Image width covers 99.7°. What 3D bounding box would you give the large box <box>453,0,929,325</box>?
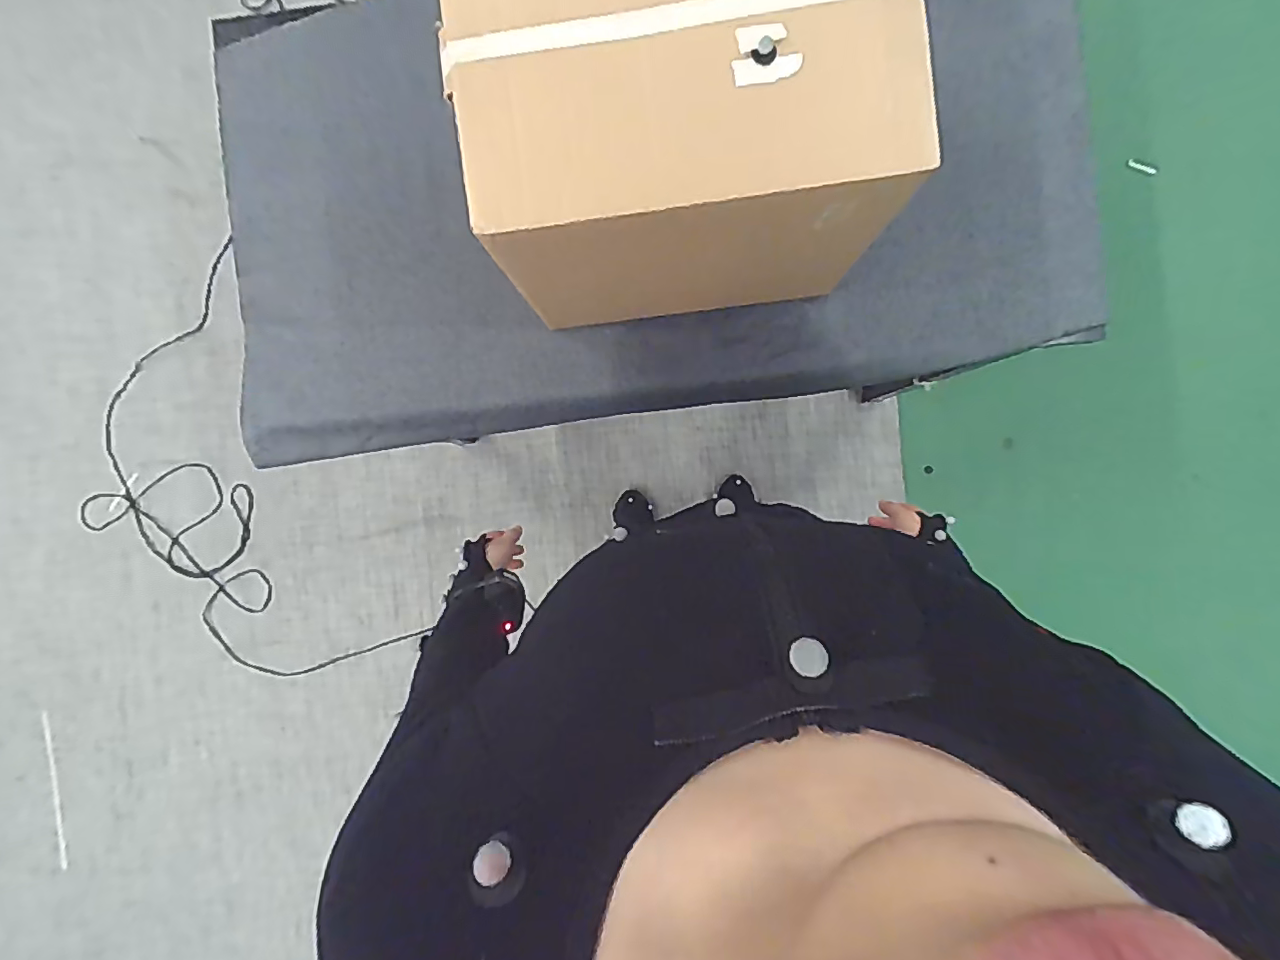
[{"bbox_3d":[0.040,-0.398,0.626,0.408,0.320,0.320,-7,91,2],"label":"large box"}]
